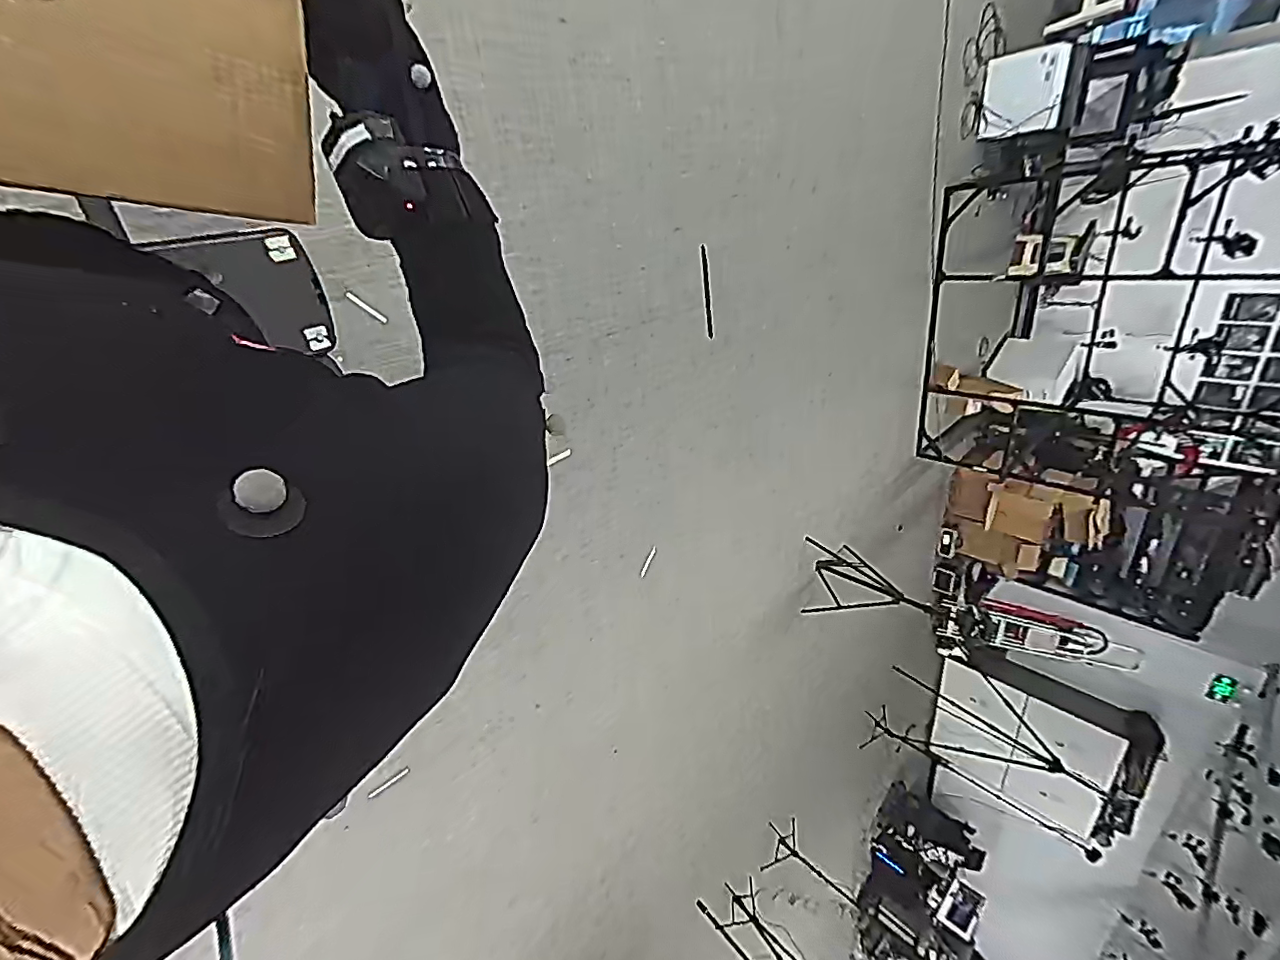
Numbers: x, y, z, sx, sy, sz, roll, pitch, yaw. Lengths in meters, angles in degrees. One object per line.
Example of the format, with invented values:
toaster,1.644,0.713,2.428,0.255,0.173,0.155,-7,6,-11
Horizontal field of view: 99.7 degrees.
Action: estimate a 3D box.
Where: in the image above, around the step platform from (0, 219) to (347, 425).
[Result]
step platform,-1.010,-0.355,1.138,0.684,0.204,0.286,-29,124,-34
